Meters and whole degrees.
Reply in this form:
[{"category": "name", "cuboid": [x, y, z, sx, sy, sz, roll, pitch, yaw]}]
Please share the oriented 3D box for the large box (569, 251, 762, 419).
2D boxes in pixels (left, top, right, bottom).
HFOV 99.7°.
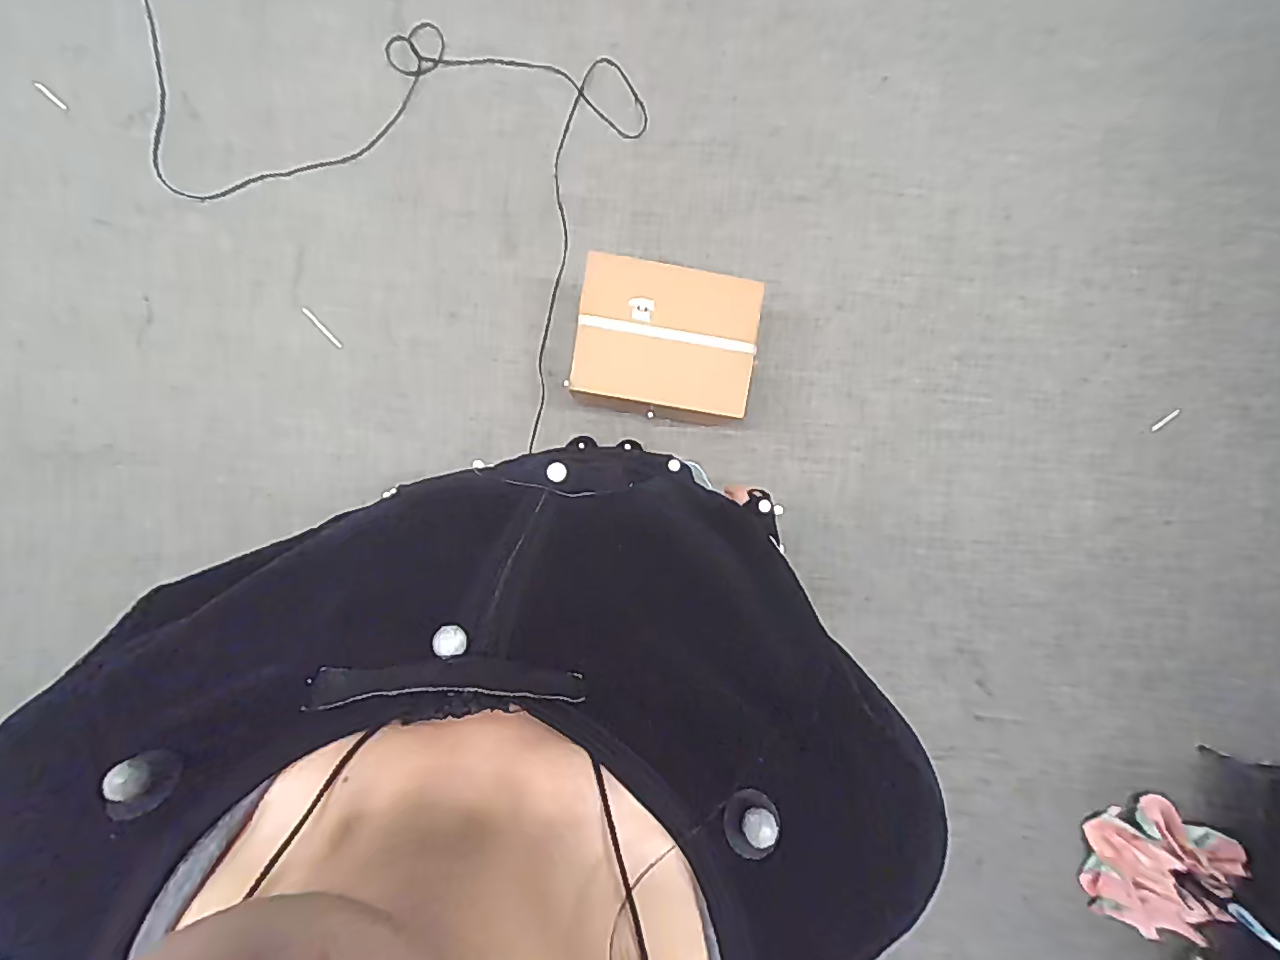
[{"category": "large box", "cuboid": [0.054, -0.338, 1.364, 0.408, 0.320, 0.320, 10, 92, -3]}]
